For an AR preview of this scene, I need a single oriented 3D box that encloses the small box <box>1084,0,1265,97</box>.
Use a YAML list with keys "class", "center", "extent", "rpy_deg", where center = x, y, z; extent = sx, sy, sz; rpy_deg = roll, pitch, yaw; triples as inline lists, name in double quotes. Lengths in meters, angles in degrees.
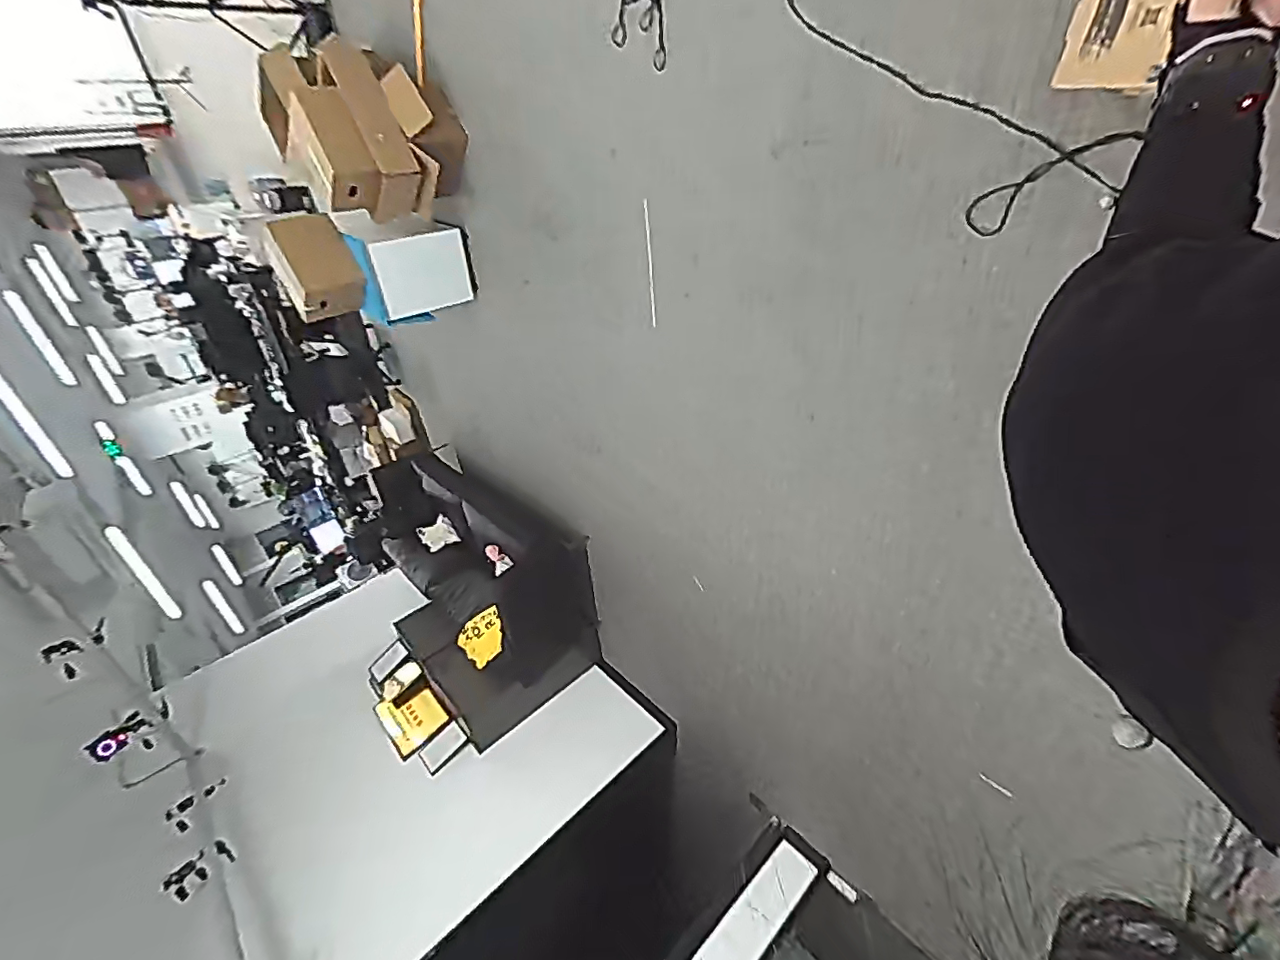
- class: "small box"
  center: [0.888, -0.743, 0.889]
  extent: [0.168, 0.176, 0.179]
  rpy_deg: [32, 138, 37]
